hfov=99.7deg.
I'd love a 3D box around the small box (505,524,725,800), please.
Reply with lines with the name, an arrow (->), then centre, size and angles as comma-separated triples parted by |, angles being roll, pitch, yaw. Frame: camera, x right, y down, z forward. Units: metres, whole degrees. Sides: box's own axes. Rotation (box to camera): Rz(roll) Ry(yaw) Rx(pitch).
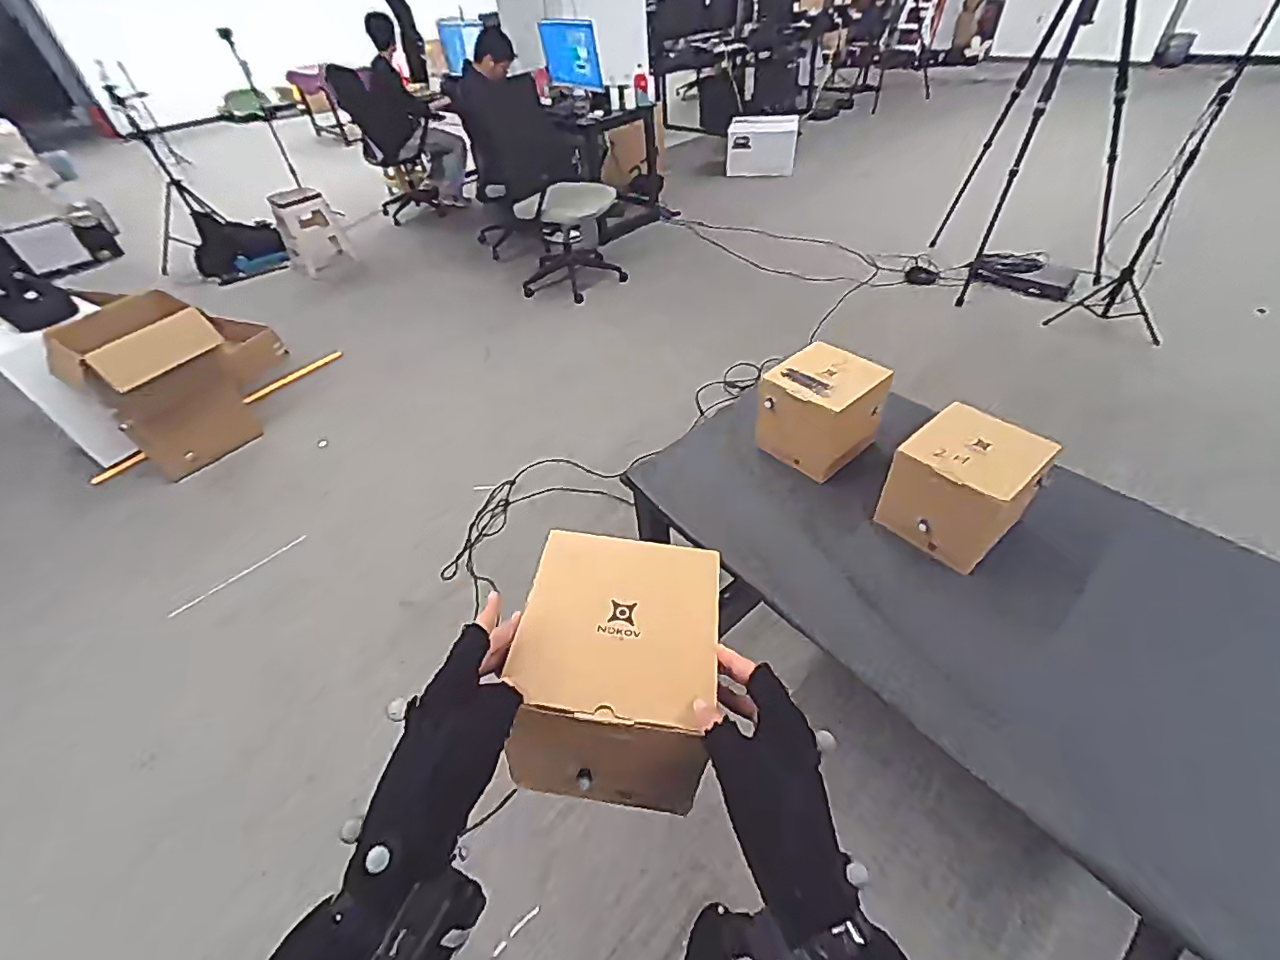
small box -> -0.017, 0.170, 0.513 | 0.168, 0.176, 0.179 | 8, 43, 3

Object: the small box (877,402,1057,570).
small box -> 0.514, 0.009, 0.875 | 0.179, 0.176, 0.168 | -33, 50, -24
